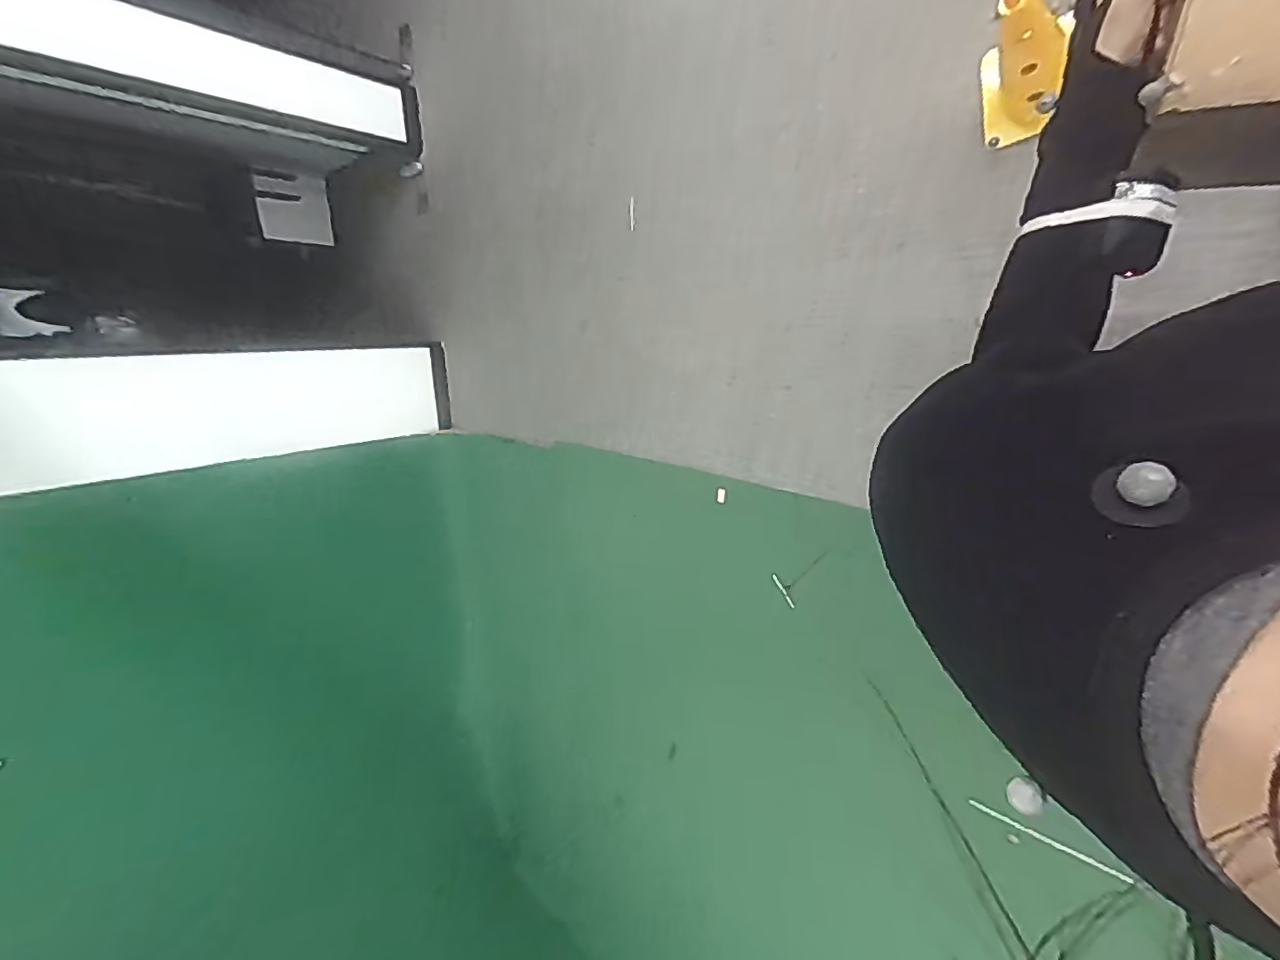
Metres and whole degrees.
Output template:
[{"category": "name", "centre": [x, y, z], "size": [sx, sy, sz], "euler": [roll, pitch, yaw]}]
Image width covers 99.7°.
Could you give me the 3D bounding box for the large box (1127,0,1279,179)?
[{"category": "large box", "centre": [0.602, -0.390, 0.319], "size": [0.408, 0.320, 0.320], "euler": [16, 113, 35]}]
